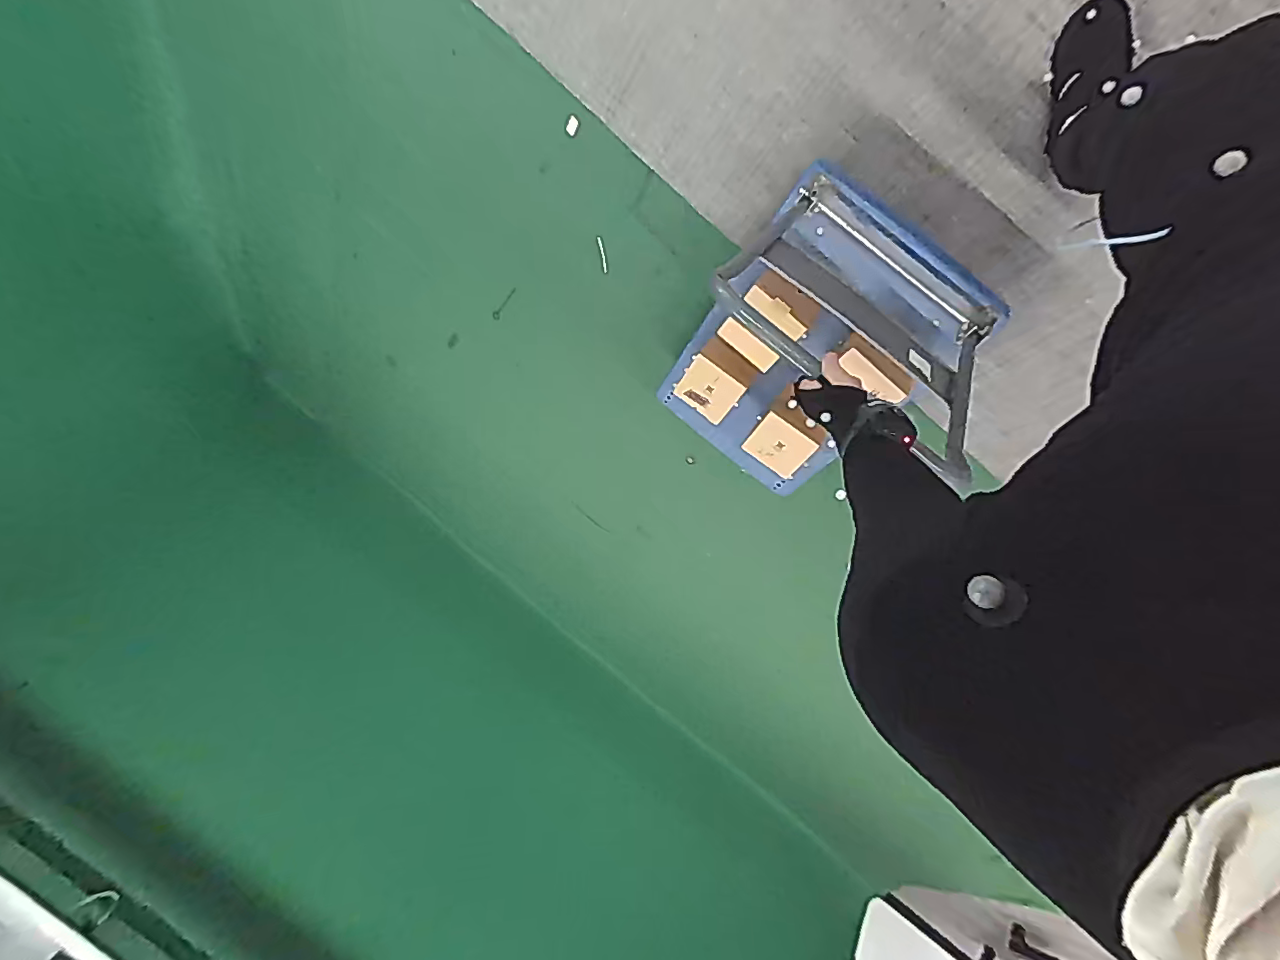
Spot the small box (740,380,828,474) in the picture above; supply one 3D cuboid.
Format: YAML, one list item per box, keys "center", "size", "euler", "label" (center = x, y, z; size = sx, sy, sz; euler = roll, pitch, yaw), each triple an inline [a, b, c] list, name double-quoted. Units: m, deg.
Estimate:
- center: [0.424, -0.158, 1.576]
  size: [0.168, 0.176, 0.179]
  euler: [37, 141, 3]
  label: "small box"

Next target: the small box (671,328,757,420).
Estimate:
- center: [0.223, -0.315, 1.573]
  size: [0.168, 0.176, 0.179]
  euler: [37, 141, 0]
  label: "small box"

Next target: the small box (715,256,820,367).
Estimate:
- center: [0.329, -0.431, 1.380]
  size: [0.168, 0.176, 0.179]
  euler: [39, 141, -2]
  label: "small box"
